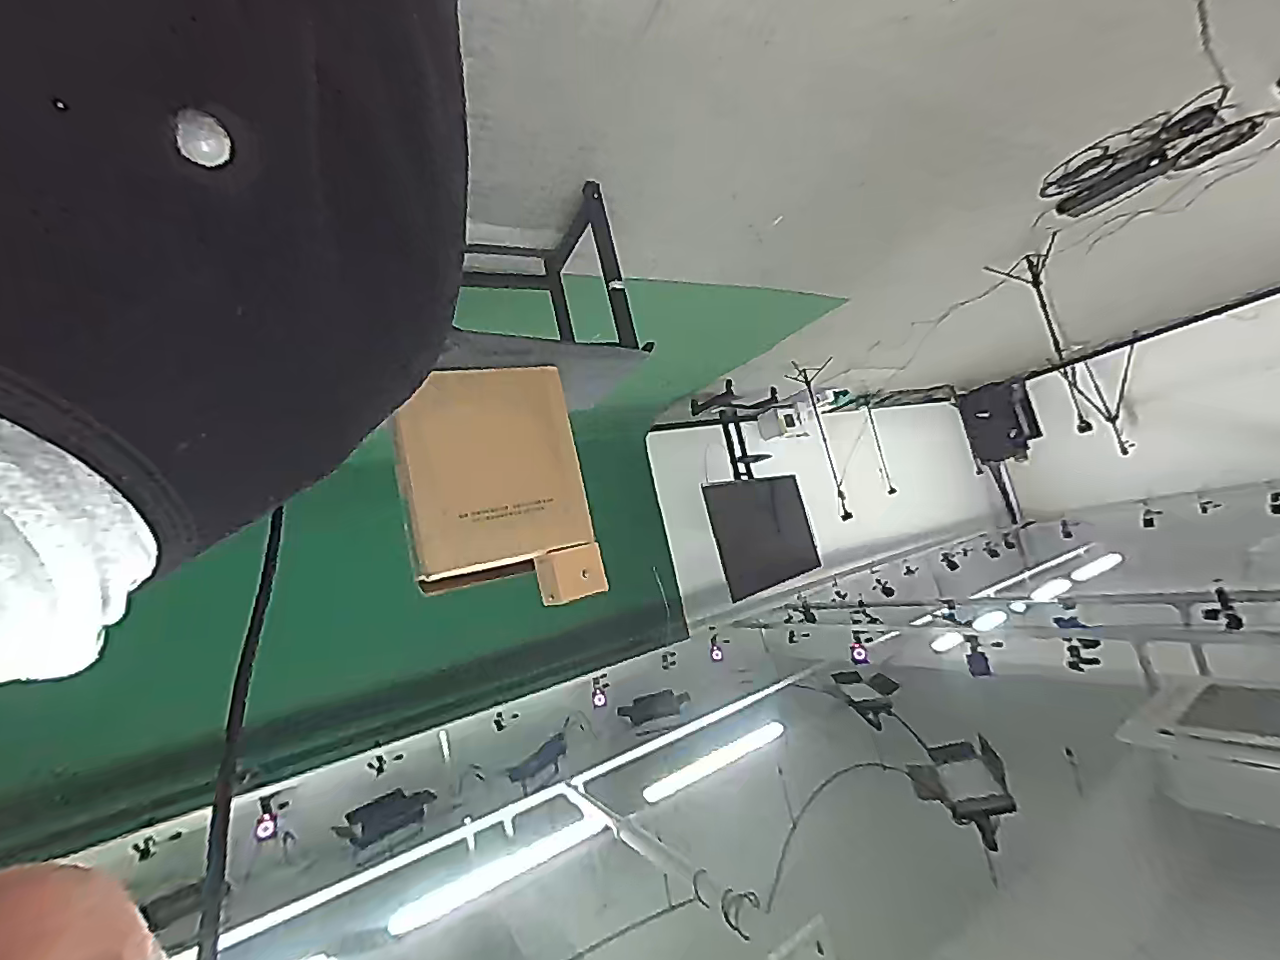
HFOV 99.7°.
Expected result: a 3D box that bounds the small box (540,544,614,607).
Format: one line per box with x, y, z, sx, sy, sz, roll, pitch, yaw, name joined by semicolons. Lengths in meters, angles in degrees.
-0.218;0.323;1.834;0.179;0.176;0.168;-12;172;-33;small box
